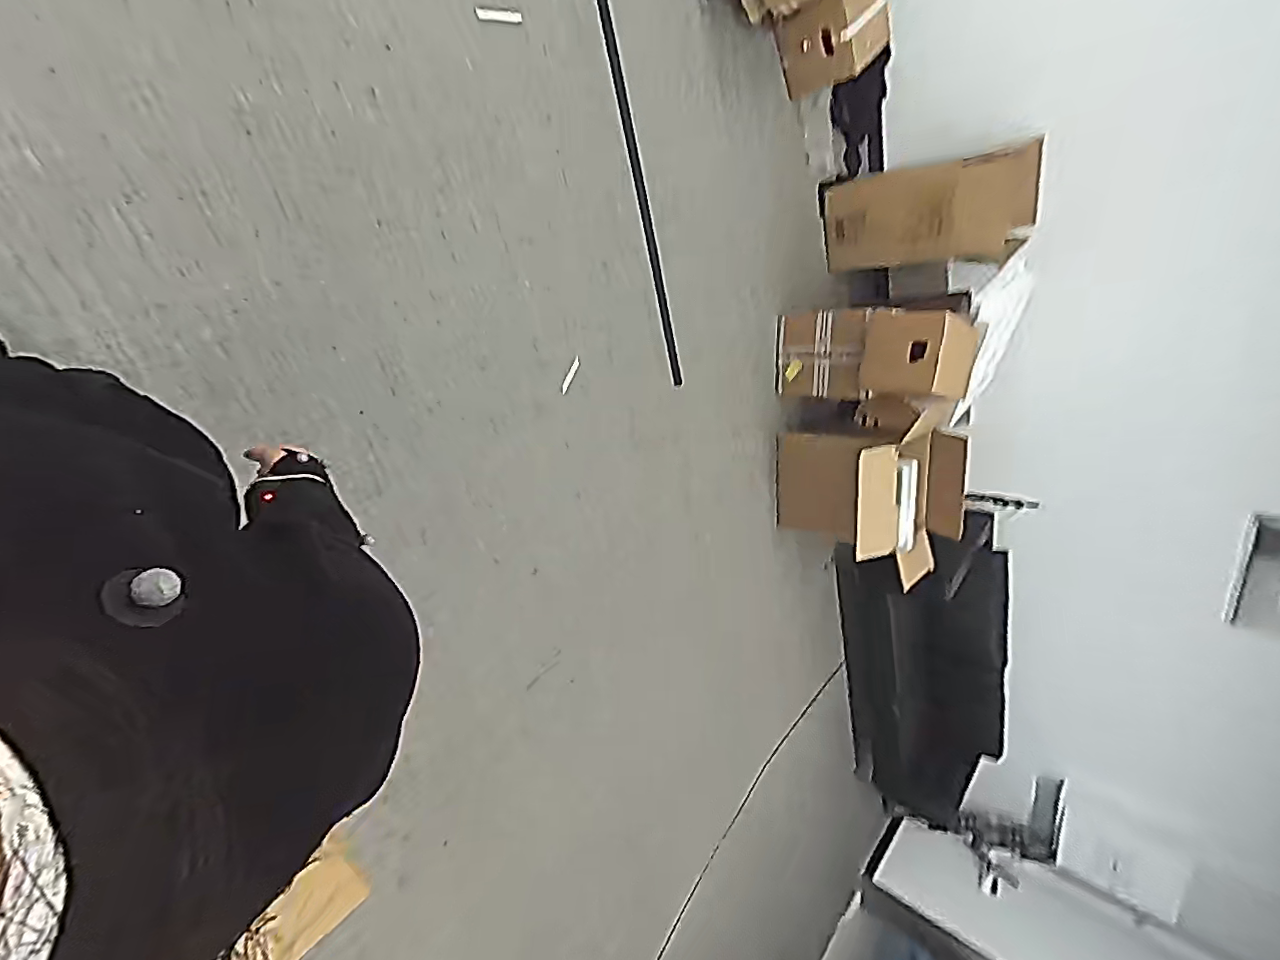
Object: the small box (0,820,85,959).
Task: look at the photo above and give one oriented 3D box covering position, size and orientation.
[{"bbox_3d":[-0.744,0.508,0.575,0.168,0.176,0.179,-29,117,-38],"label":"small box"}]
